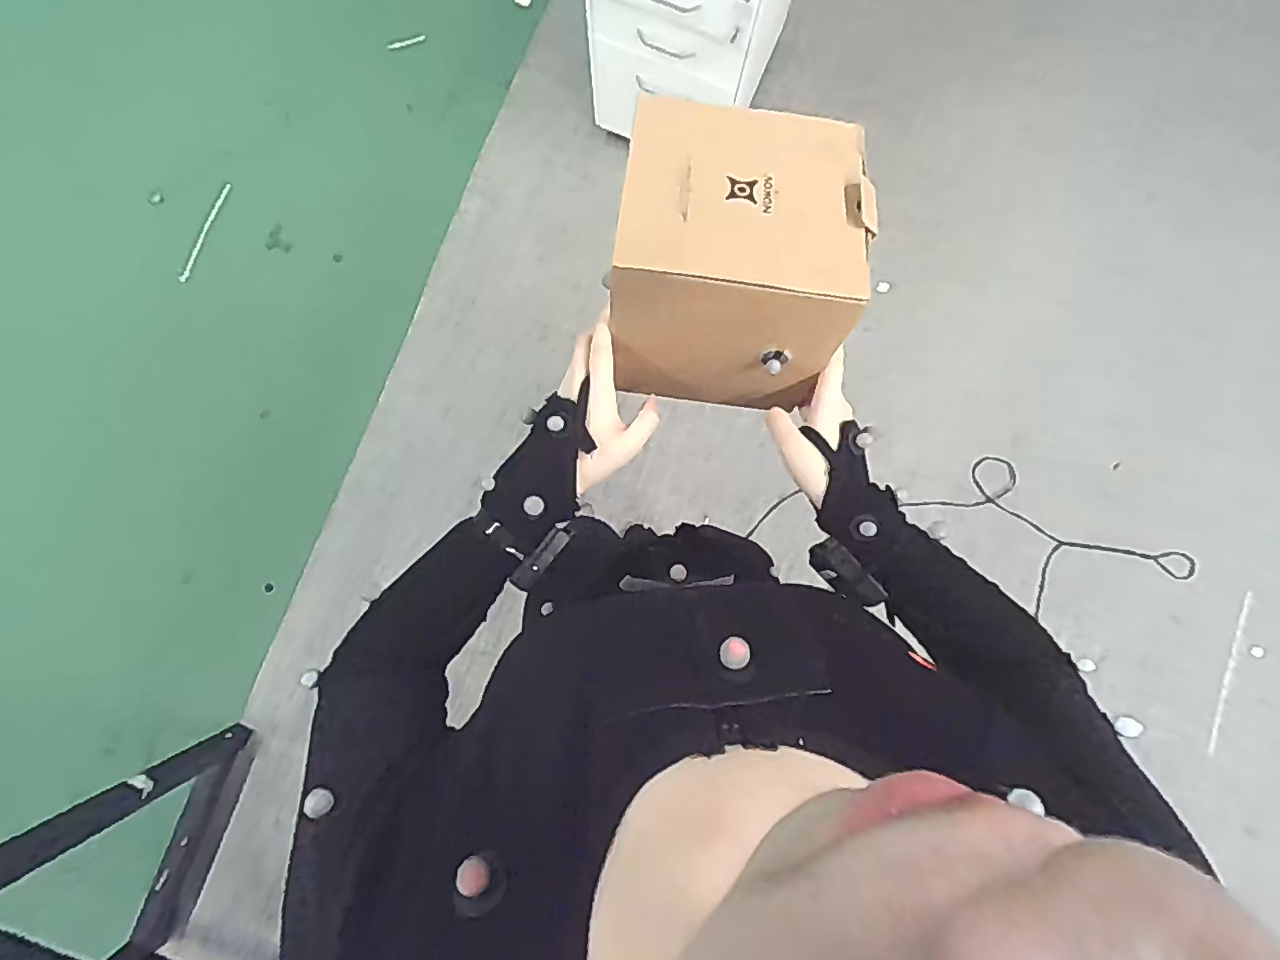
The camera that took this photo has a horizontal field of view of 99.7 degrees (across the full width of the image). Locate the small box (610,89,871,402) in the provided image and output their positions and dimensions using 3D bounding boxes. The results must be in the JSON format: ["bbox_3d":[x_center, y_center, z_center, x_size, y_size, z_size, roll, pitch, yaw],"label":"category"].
[{"bbox_3d":[0.072,-0.182,0.459,0.179,0.176,0.168,7,69,-1],"label":"small box"}]
